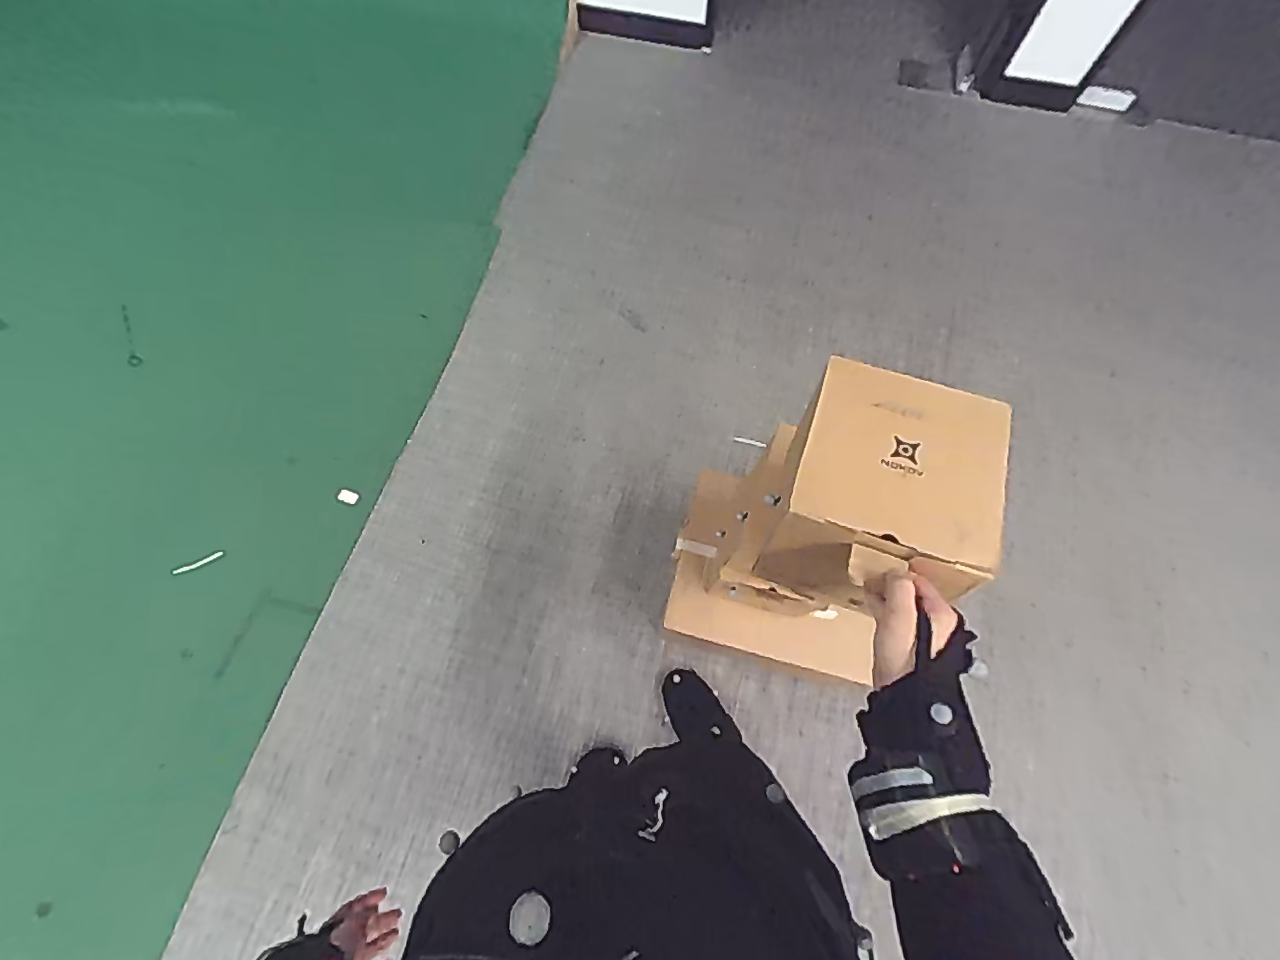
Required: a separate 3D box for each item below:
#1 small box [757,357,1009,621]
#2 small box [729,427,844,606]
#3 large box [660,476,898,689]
[{"bbox_3d":[0.223,0.017,0.530,0.168,0.176,0.179,19,63,9],"label":"small box"},{"bbox_3d":[0.231,0.058,0.751,0.168,0.176,0.179,19,71,7],"label":"small box"},{"bbox_3d":[0.272,0.224,1.123,0.408,0.320,0.320,14,72,5],"label":"large box"}]
